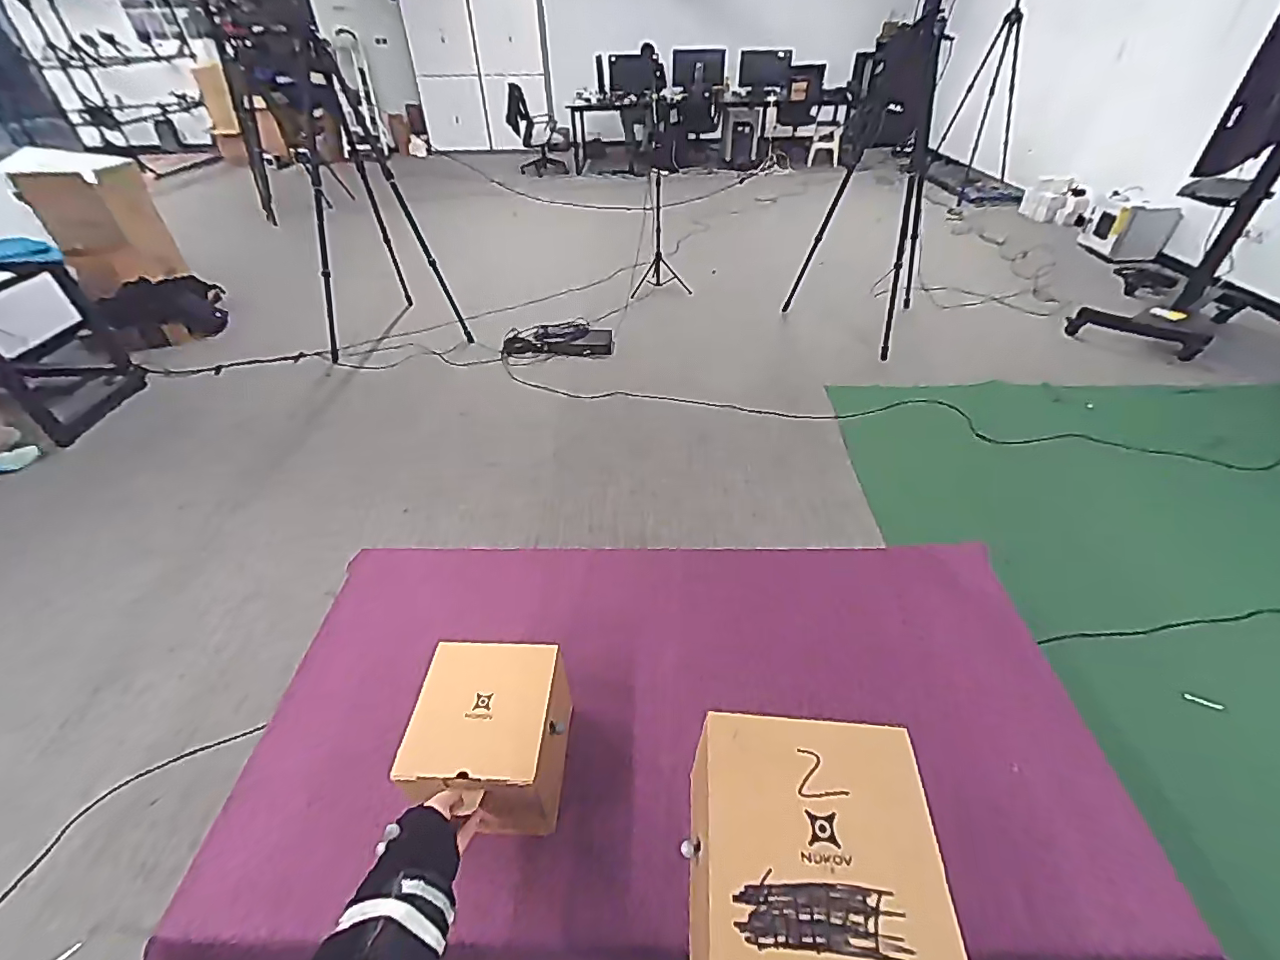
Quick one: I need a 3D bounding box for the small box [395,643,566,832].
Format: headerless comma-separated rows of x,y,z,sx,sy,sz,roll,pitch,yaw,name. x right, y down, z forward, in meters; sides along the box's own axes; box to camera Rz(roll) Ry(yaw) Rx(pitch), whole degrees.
-0.196,0.344,0.729,0.168,0.176,0.179,1,41,3,small box
